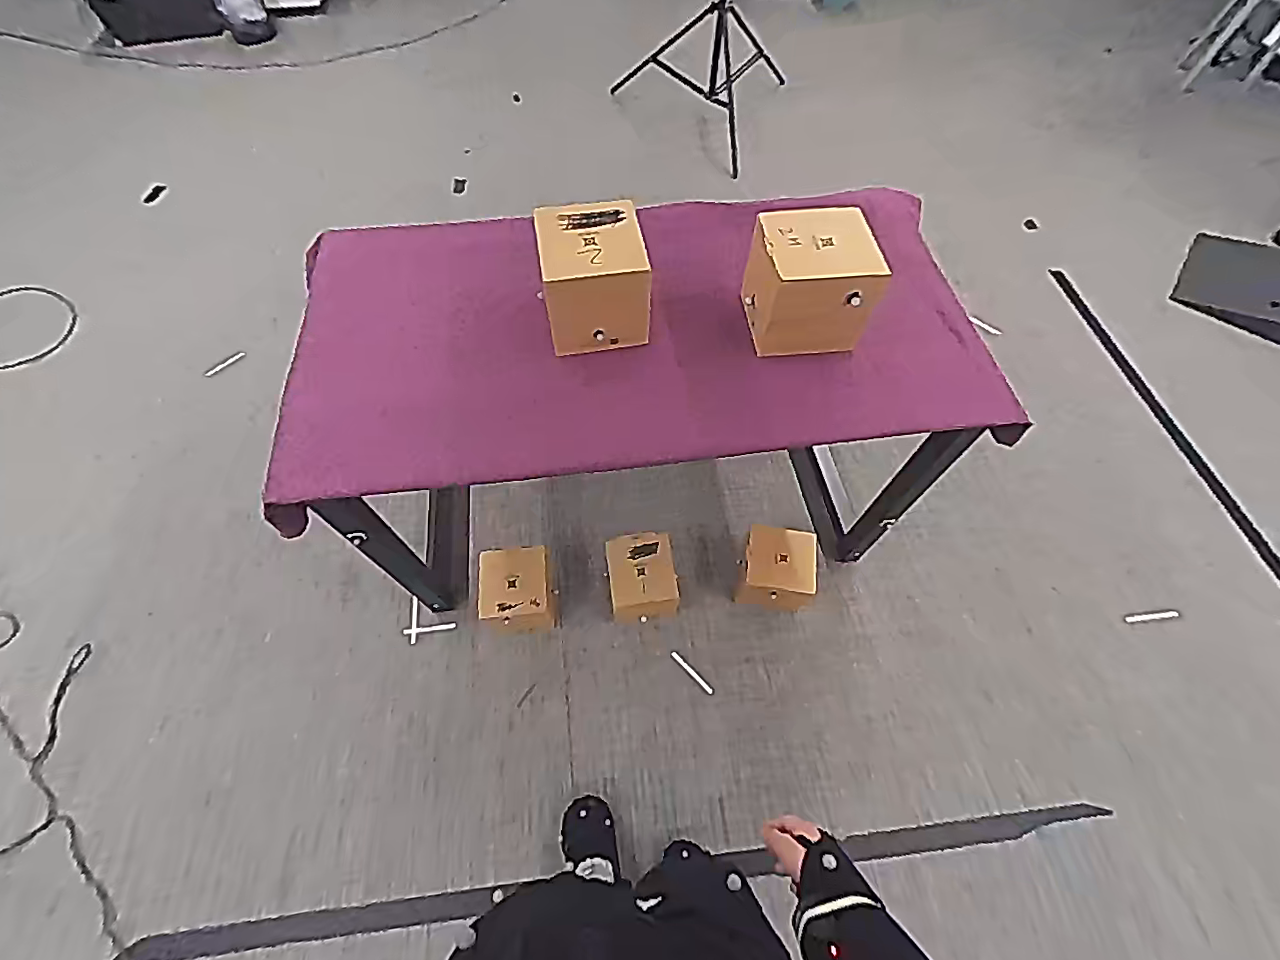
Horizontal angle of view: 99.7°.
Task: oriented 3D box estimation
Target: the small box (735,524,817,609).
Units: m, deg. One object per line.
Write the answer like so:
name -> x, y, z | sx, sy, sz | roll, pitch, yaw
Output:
small box -> 0.359, 0.234, 1.439 | 0.179, 0.176, 0.168 | 8, 61, 5

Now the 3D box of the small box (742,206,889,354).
small box -> 0.285, -0.335, 0.919 | 0.179, 0.176, 0.168 | -5, 60, -3

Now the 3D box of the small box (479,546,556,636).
small box -> -0.311, 0.290, 1.401 | 0.168, 0.176, 0.179 | -5, 60, -3

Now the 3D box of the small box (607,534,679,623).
small box -> 0.003, 0.260, 1.419 | 0.168, 0.176, 0.179 | -7, 62, -4
